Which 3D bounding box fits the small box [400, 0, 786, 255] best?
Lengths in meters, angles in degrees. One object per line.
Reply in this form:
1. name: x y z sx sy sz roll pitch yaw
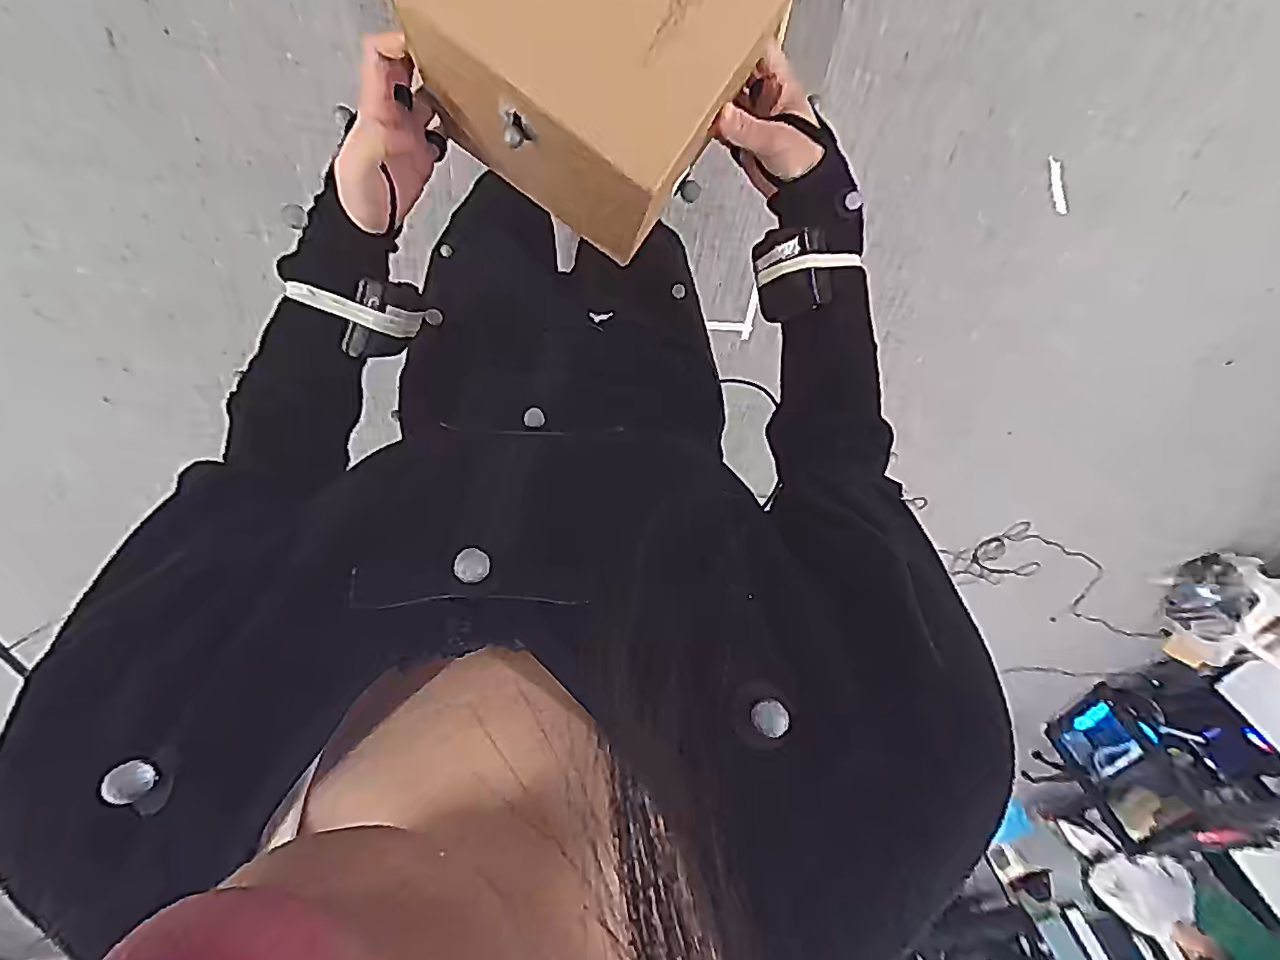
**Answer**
1. small box: -0.027 -0.284 0.364 0.179 0.176 0.168 32 92 -9
